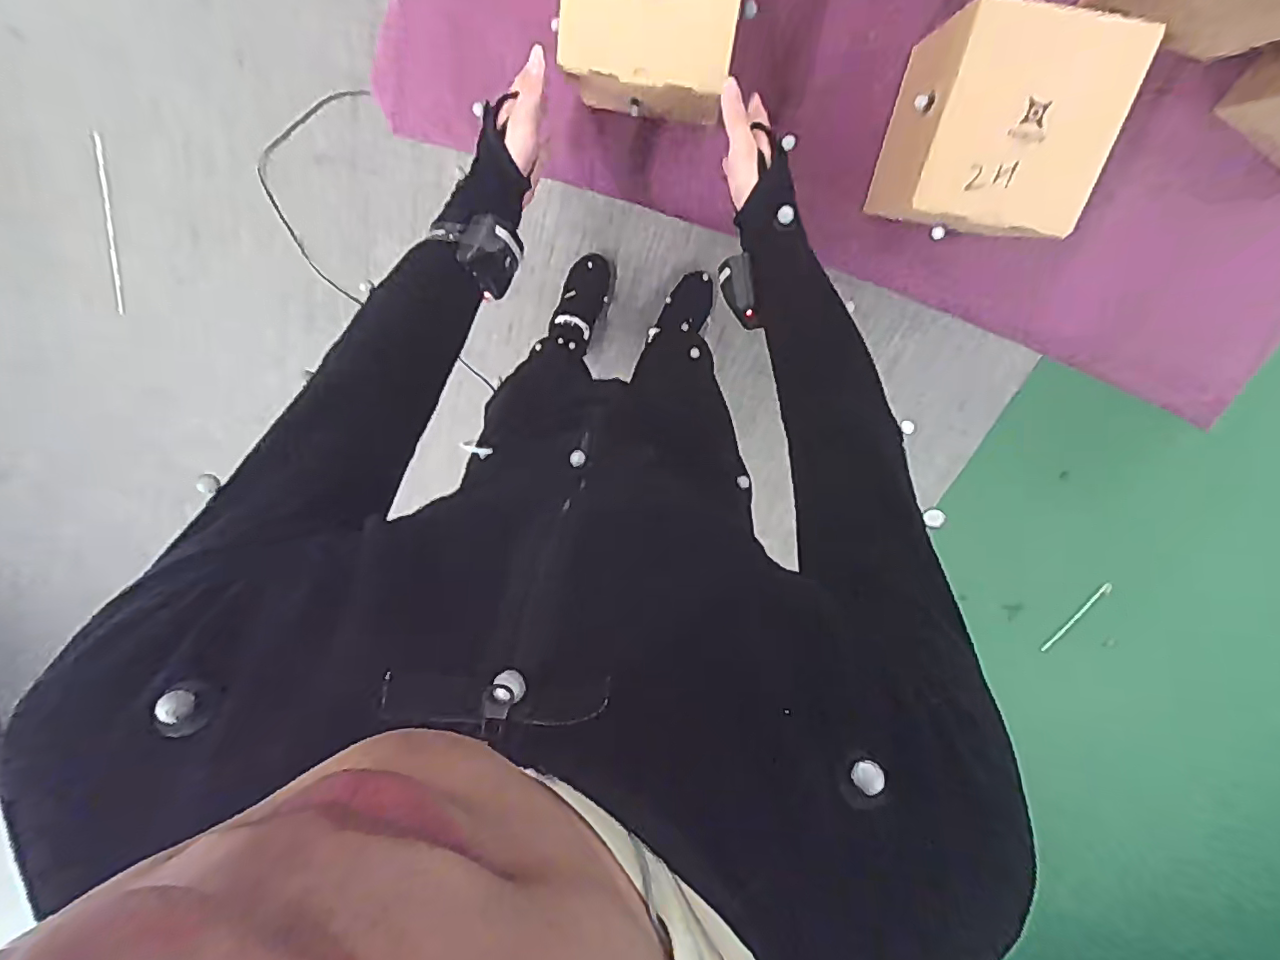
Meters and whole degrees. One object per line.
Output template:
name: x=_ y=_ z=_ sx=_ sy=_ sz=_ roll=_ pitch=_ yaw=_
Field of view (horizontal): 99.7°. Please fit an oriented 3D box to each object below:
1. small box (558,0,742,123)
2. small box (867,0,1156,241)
small box: x=0.018 y=-0.492 z=0.556 sx=0.168 sy=0.176 sz=0.179 roll=9 pitch=117 yaw=0
small box: x=0.370 y=-0.369 z=0.585 sx=0.168 sy=0.176 sz=0.179 roll=11 pitch=116 yaw=0
